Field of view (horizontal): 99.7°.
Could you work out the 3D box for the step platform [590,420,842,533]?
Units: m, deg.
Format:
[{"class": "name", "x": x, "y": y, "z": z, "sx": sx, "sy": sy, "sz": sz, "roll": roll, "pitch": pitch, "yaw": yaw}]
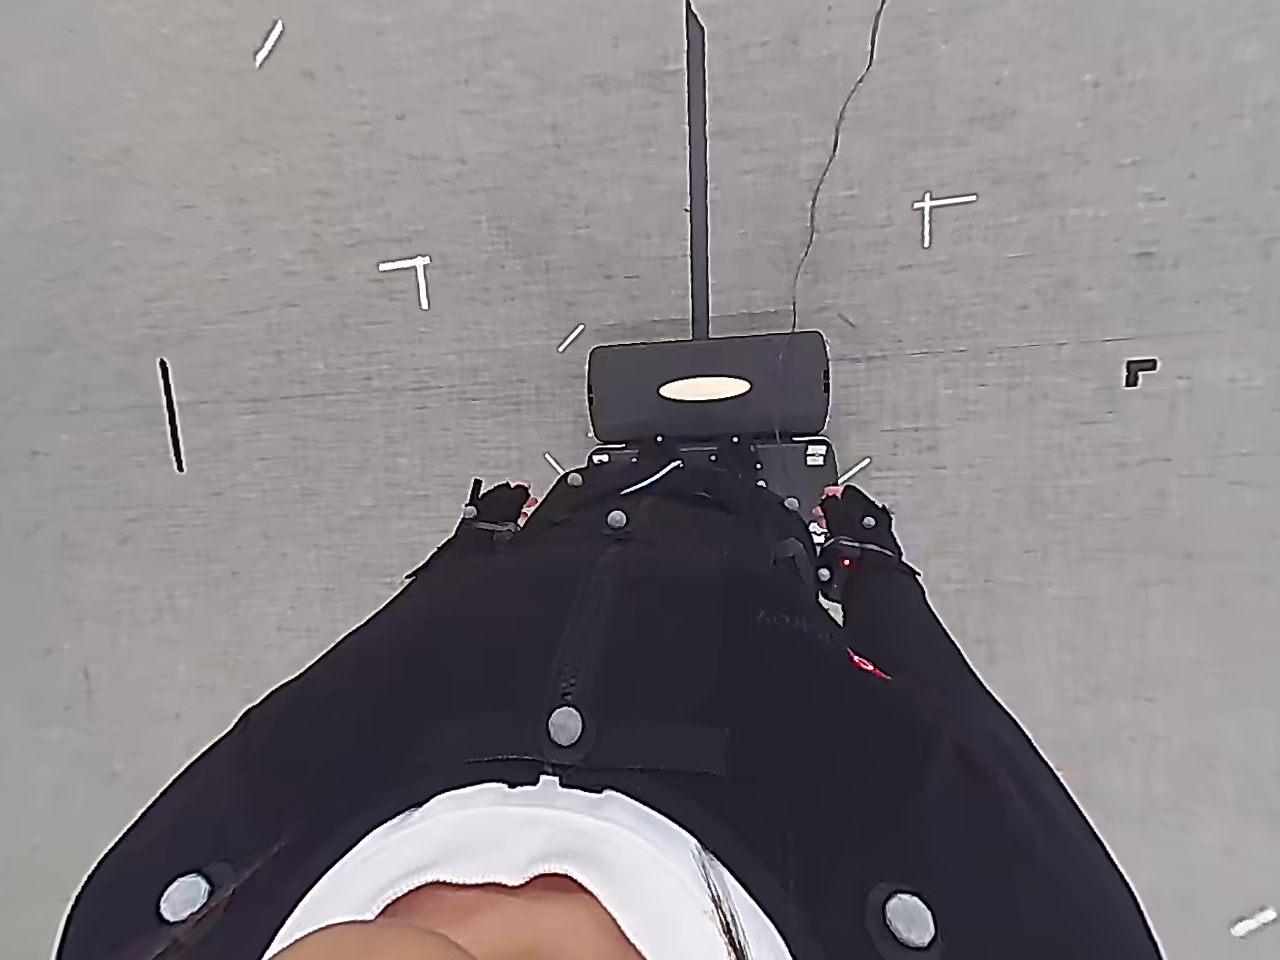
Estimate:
[{"class": "step platform", "x": 0.204, "y": -0.007, "z": 1.512, "sx": 0.684, "sy": 0.204, "sz": 0.286, "roll": -2, "pitch": 96, "yaw": 11}]
